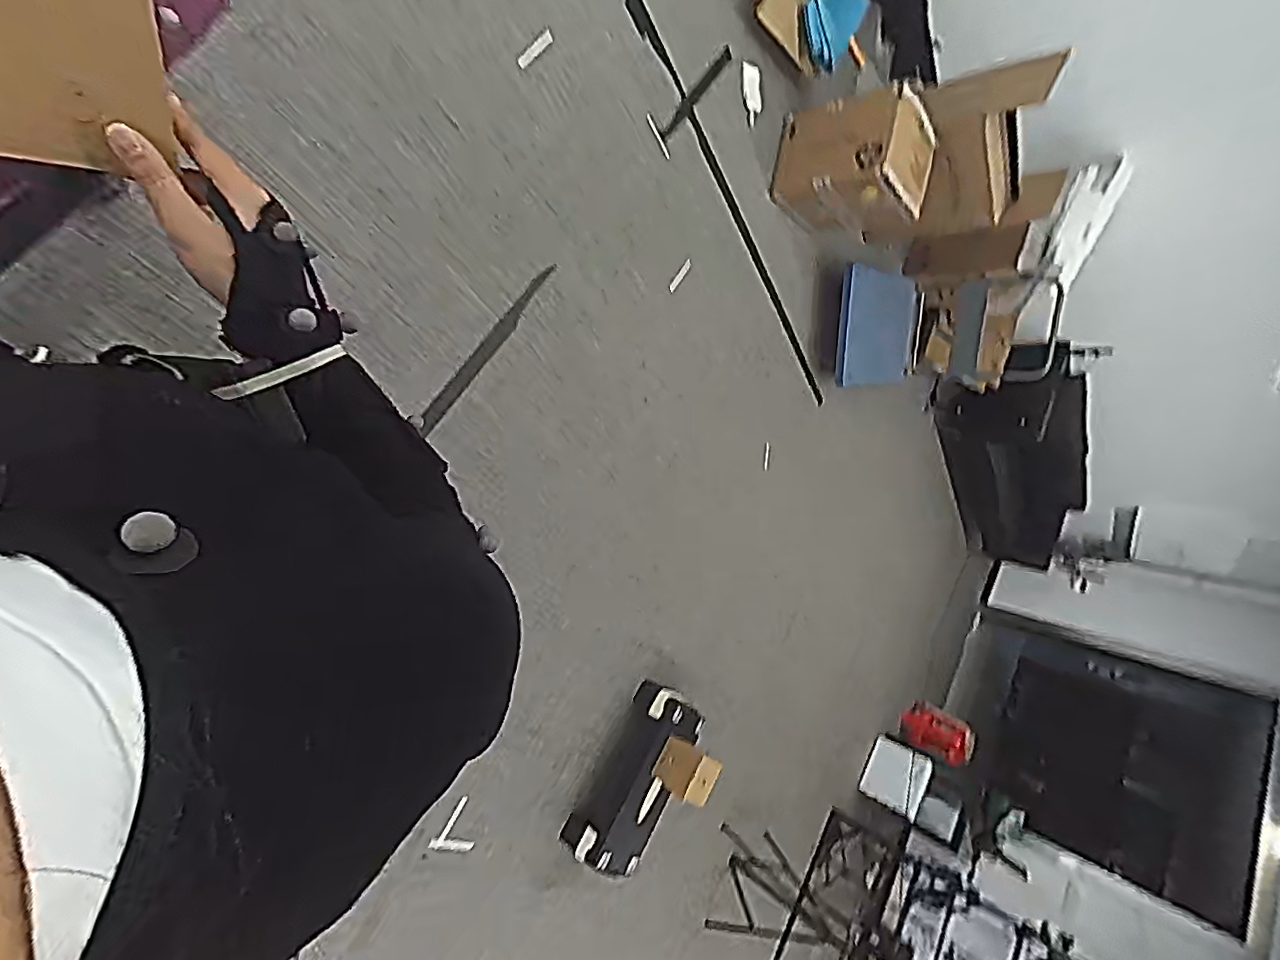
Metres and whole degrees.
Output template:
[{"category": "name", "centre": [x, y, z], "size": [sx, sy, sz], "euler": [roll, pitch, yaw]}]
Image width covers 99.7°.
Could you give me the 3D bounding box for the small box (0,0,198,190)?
[{"category": "small box", "centre": [-0.356, -0.282, 0.284], "size": [0.168, 0.176, 0.179], "euler": [-10, 131, -40]}]

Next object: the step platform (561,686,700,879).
[{"category": "step platform", "centre": [-0.016, 1.205, 2.178], "size": [0.286, 0.204, 0.684], "euler": [48, 65, -41]}]

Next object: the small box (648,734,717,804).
[{"category": "small box", "centre": [0.164, 1.114, 2.088], "size": [0.179, 0.176, 0.168], "euler": [49, 64, -41]}]
